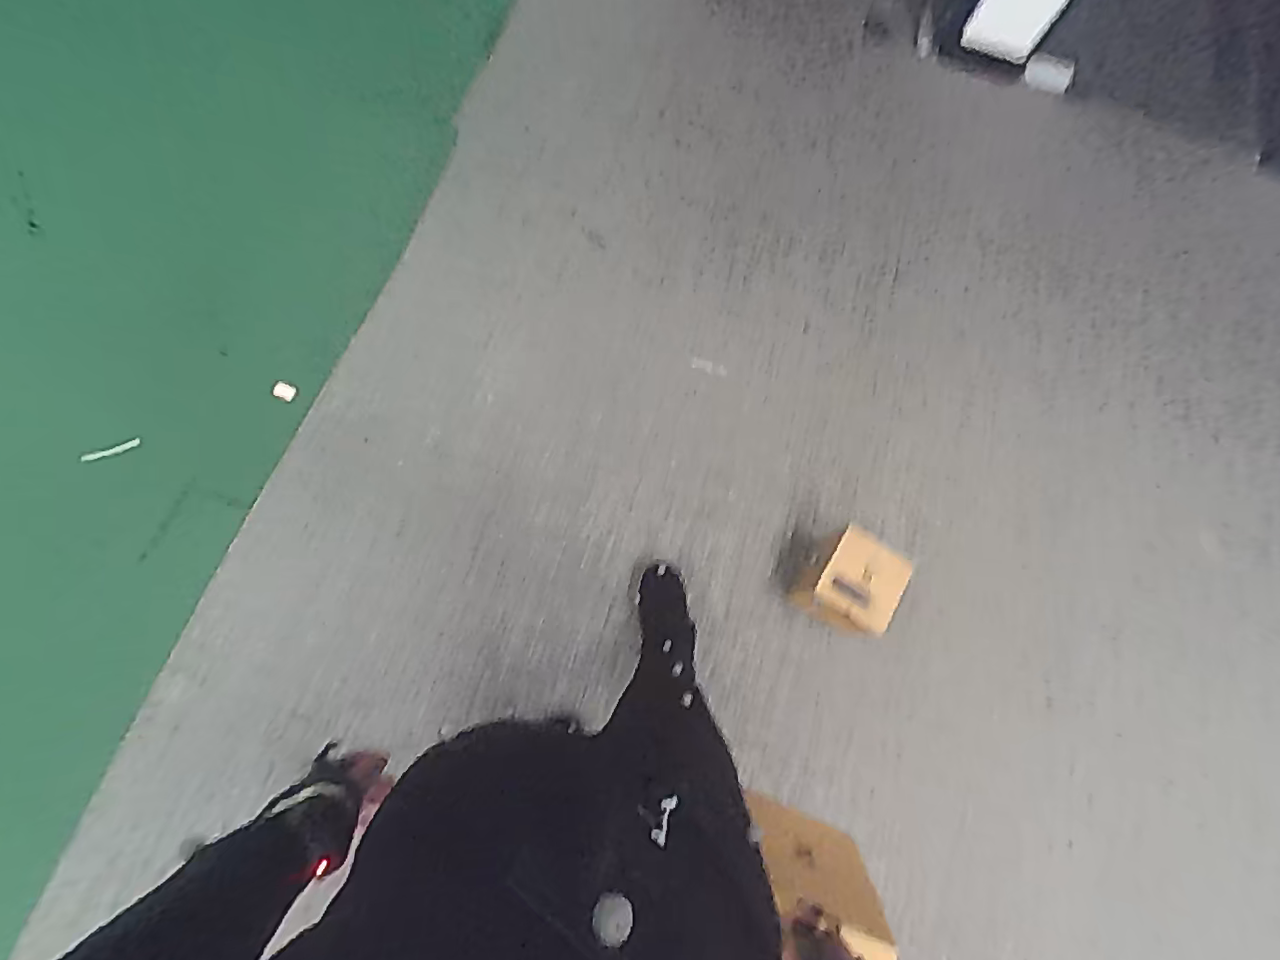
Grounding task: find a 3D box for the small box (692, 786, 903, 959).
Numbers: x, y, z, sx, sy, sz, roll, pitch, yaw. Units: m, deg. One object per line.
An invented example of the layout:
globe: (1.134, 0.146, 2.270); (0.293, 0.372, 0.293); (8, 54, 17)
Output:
small box: (0.163, 0.504, 0.618); (0.168, 0.179, 0.176); (21, 93, 7)
